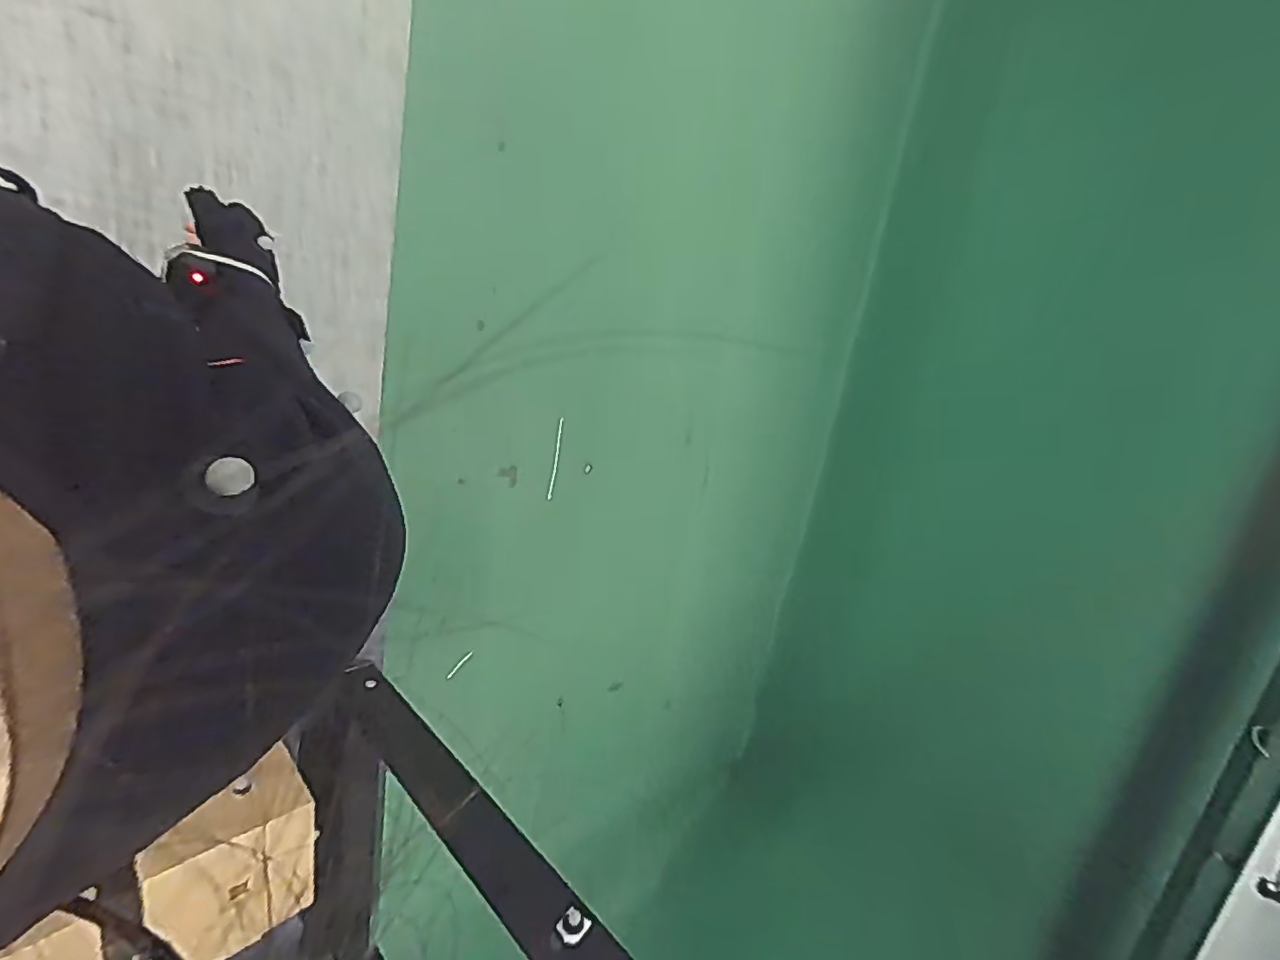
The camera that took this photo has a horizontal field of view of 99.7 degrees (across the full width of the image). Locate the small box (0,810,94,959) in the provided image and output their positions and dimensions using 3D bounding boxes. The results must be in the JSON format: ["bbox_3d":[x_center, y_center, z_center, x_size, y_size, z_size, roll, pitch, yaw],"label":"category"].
[{"bbox_3d":[-0.676,0.490,0.547,0.168,0.176,0.179,-6,111,-50],"label":"small box"}]

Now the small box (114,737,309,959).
[{"bbox_3d":[-0.546,0.463,0.692,0.168,0.176,0.179,-7,113,-48],"label":"small box"}]
